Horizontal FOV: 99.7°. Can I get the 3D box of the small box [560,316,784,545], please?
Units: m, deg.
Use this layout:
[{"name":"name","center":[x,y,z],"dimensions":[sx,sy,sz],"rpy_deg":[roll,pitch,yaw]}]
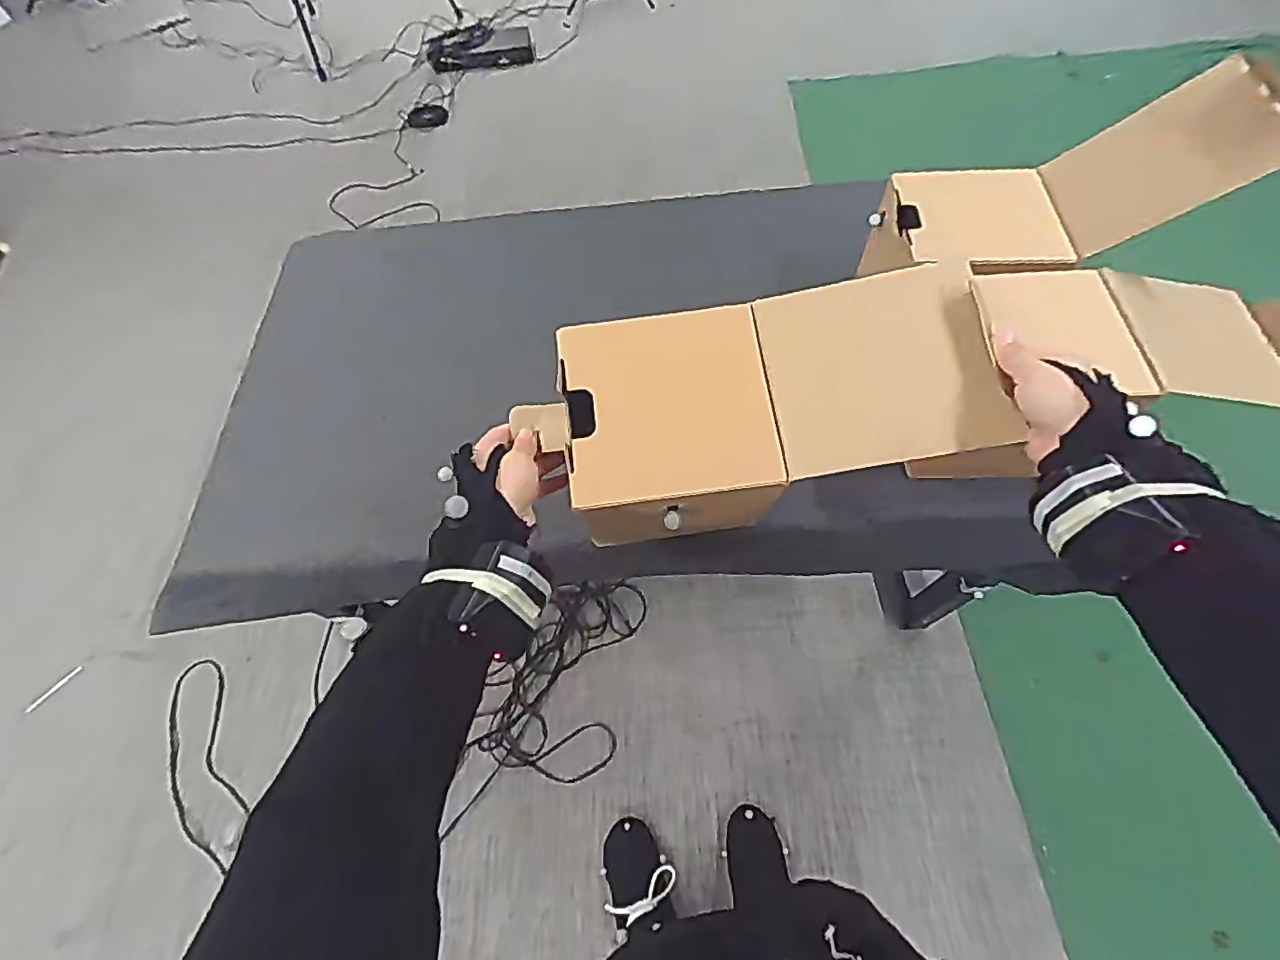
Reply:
[{"name":"small box","center":[0.025,-0.035,0.520],"dimensions":[0.179,0.176,0.168],"rpy_deg":[-5,74,2]}]
